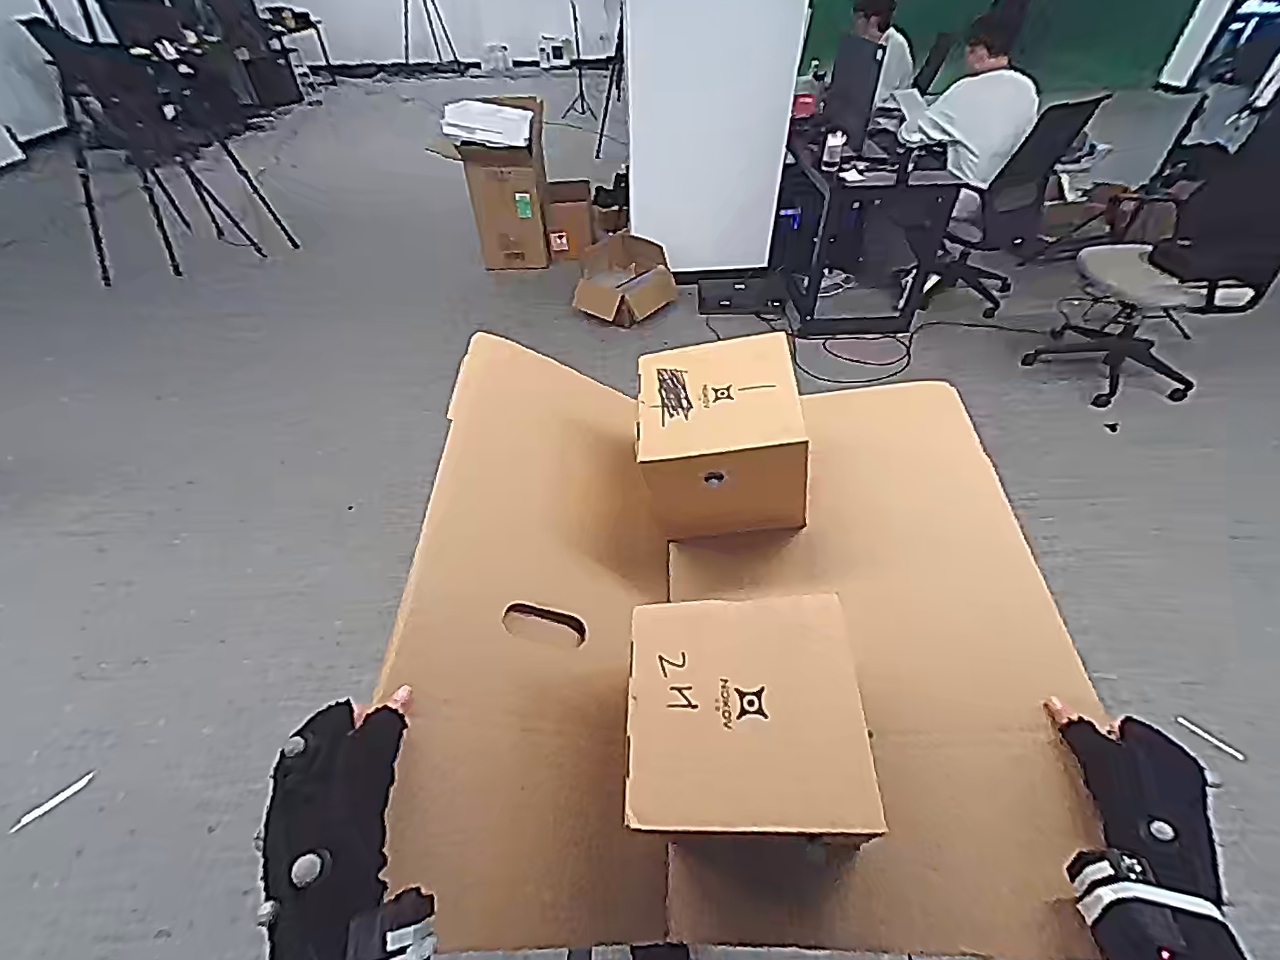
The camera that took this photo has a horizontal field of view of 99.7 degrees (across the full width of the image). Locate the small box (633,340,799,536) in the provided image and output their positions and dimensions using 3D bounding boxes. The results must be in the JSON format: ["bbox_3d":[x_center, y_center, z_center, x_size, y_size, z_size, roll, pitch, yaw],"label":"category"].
[{"bbox_3d":[0.096,-0.043,0.670,0.179,0.176,0.168,-7,54,11],"label":"small box"}]
